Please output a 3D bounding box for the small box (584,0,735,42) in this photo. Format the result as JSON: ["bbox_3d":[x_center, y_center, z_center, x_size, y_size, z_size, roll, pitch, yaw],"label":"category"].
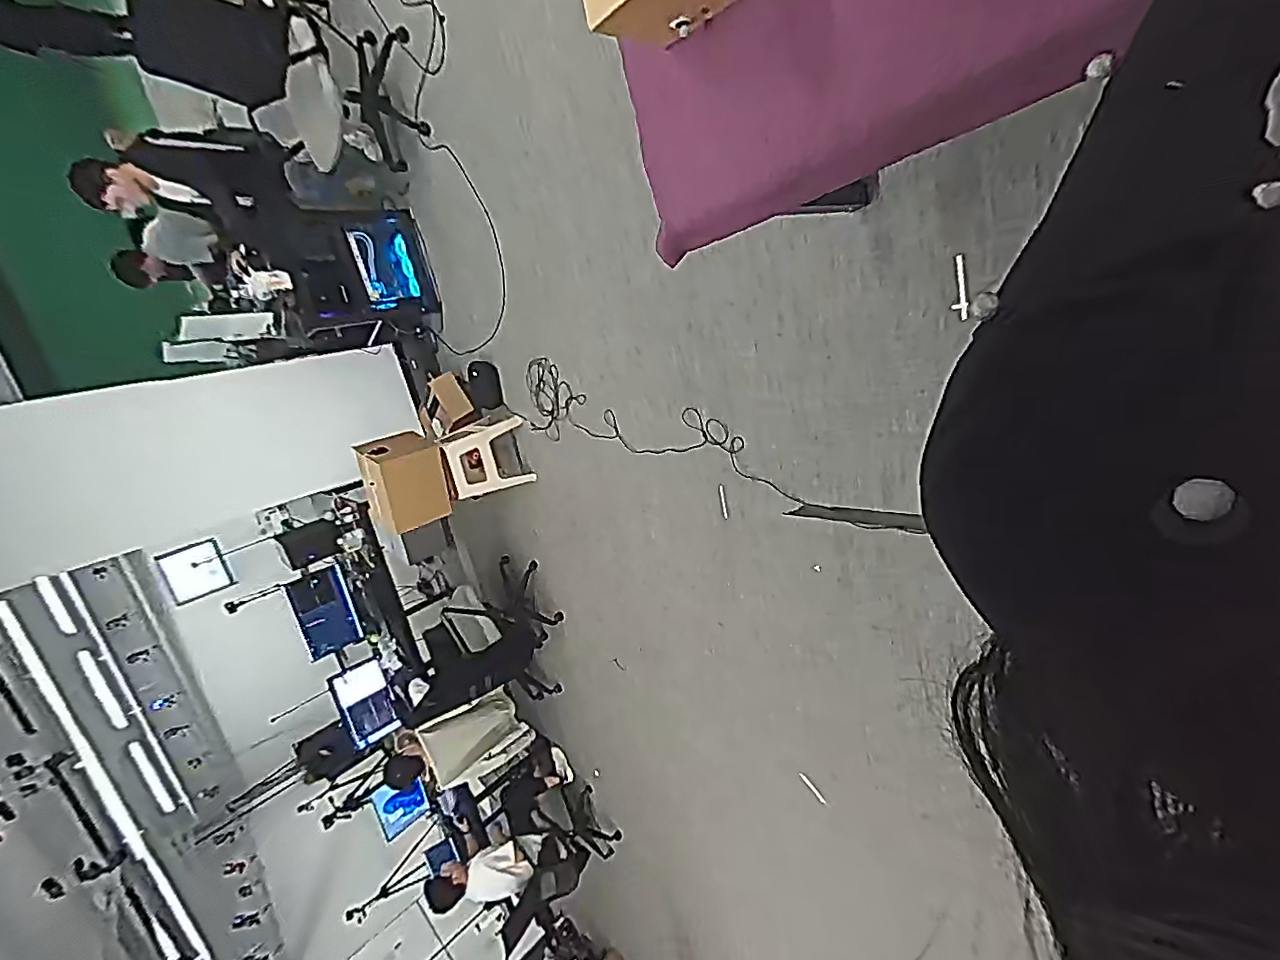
[{"bbox_3d":[0.025,-0.741,0.731,0.168,0.176,0.179,6,115,48],"label":"small box"}]
